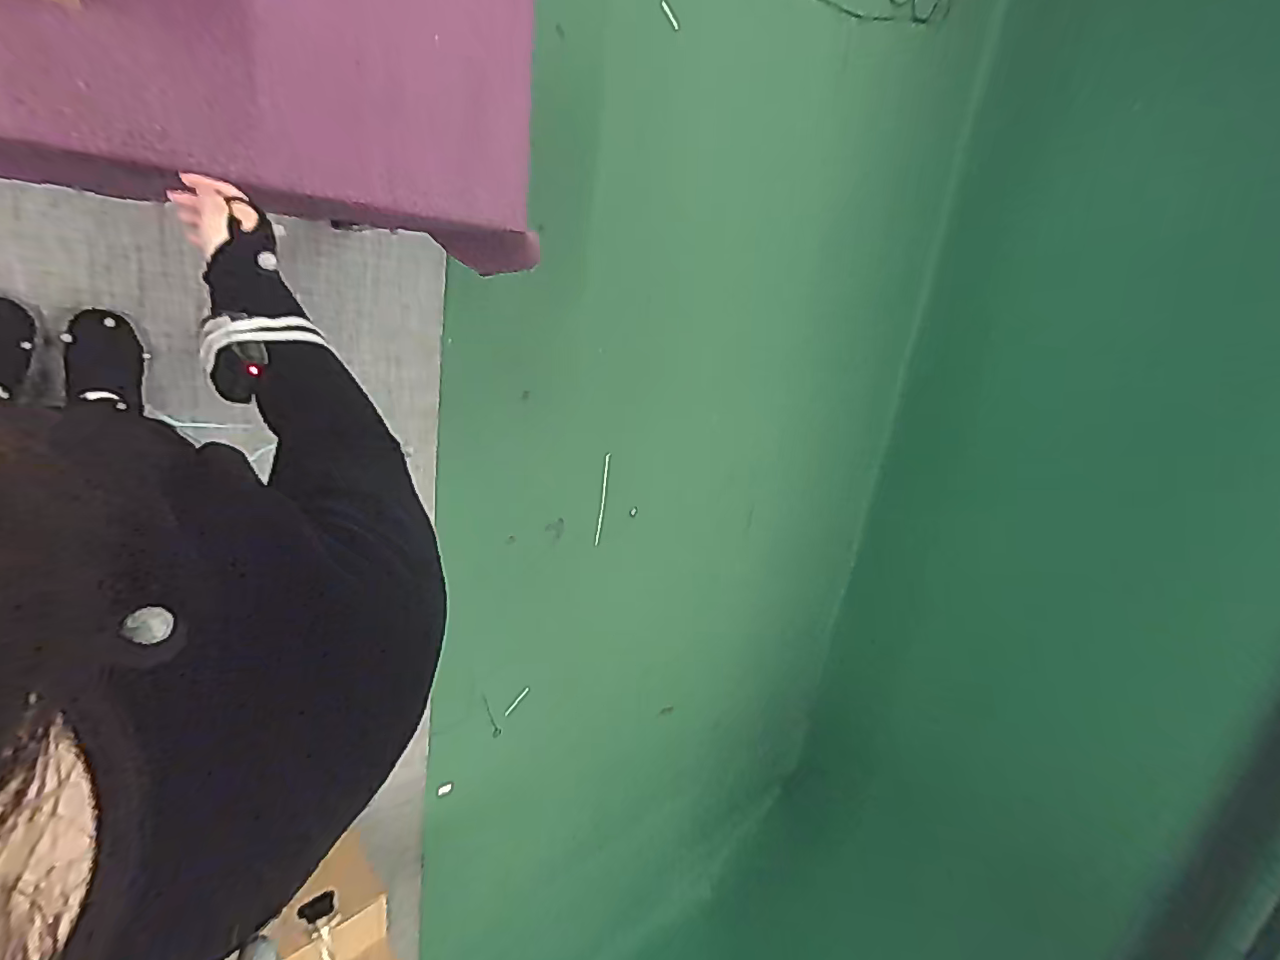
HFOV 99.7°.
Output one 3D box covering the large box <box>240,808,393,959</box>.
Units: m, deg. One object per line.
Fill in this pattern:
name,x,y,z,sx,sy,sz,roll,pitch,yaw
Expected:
large box,-0.957,1.303,1.612,0.320,0.320,0.408,-10,115,-43
